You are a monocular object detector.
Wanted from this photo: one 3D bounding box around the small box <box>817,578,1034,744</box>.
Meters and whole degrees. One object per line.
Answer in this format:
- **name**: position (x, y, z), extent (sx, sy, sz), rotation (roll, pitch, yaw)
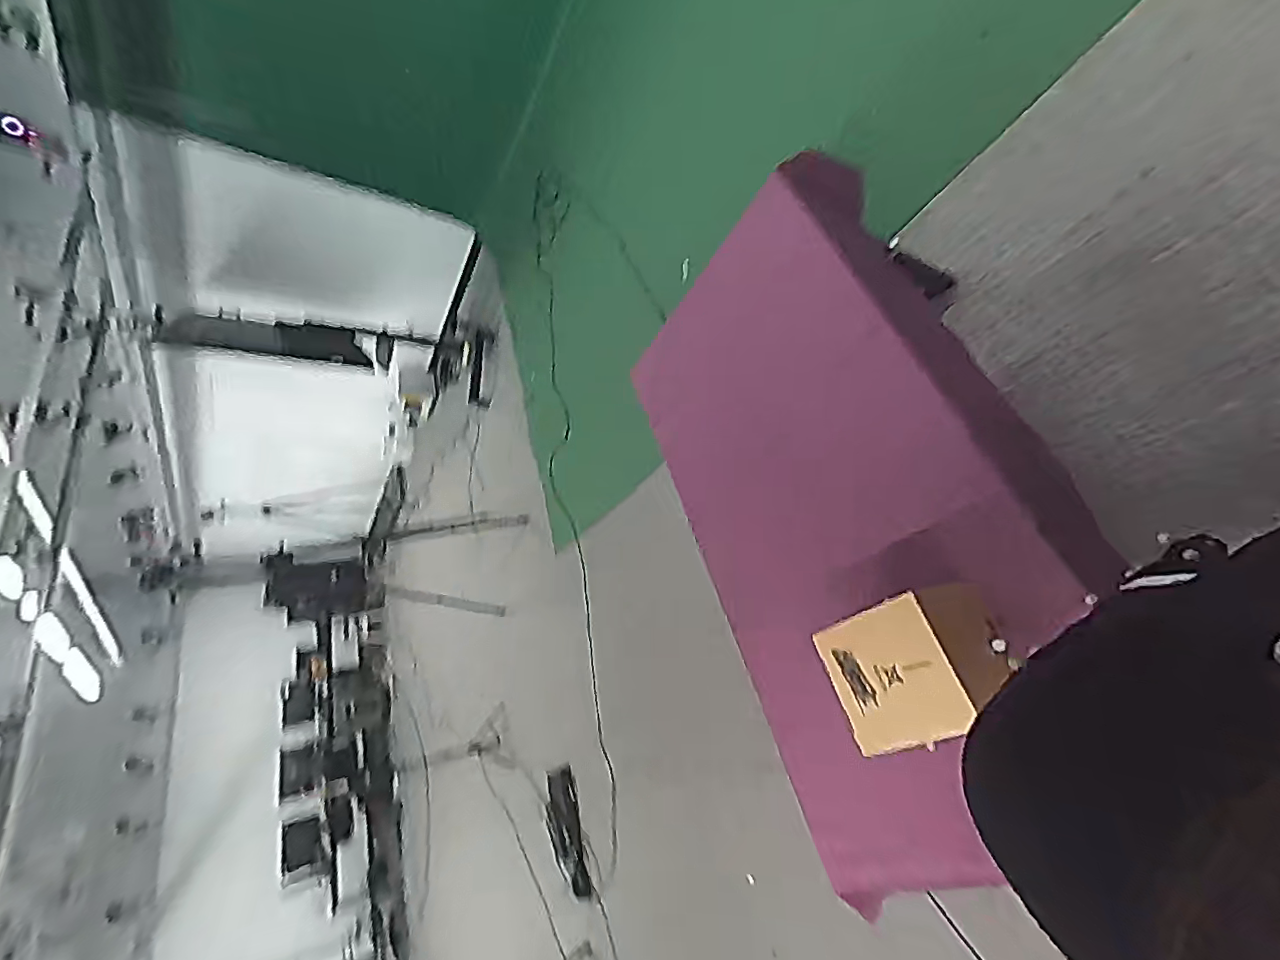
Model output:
- **small box**: position (0.392, 0.248, 0.753), extent (0.179, 0.176, 0.168), rotation (-46, 53, 43)
